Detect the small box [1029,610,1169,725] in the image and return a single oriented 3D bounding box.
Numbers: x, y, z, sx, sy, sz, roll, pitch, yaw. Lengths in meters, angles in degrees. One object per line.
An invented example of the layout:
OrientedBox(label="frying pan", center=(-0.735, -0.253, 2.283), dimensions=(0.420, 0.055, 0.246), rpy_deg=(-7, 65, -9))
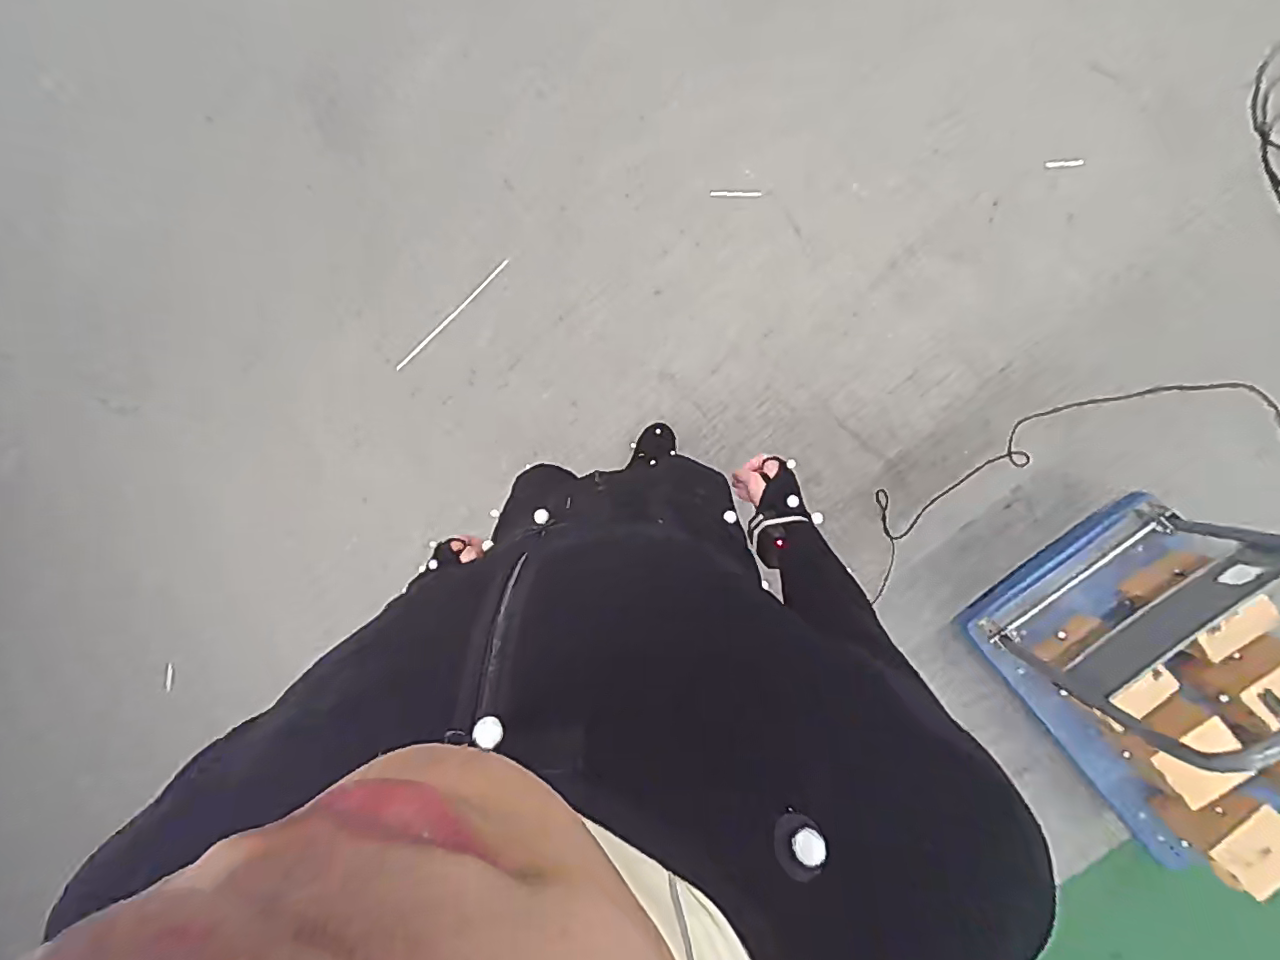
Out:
OrientedBox(label="small box", center=(1.110, 0.453, 1.332), dimensions=(0.179, 0.176, 0.168), rpy_deg=(-42, 91, 7))

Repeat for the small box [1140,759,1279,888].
OrientedBox(label="small box", center=(1.422, 0.840, 1.340), dimensions=(0.179, 0.176, 0.168), rpy_deg=(-40, 88, 8))

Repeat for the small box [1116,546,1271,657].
OrientedBox(label="small box", center=(1.311, 0.285, 1.302), dimensions=(0.179, 0.176, 0.168), rpy_deg=(-37, 92, 6))

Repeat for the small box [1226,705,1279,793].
OrientedBox(label="small box", center=(1.614, 0.678, 1.314), dimensions=(0.168, 0.176, 0.179), rpy_deg=(-37, 91, 8))
